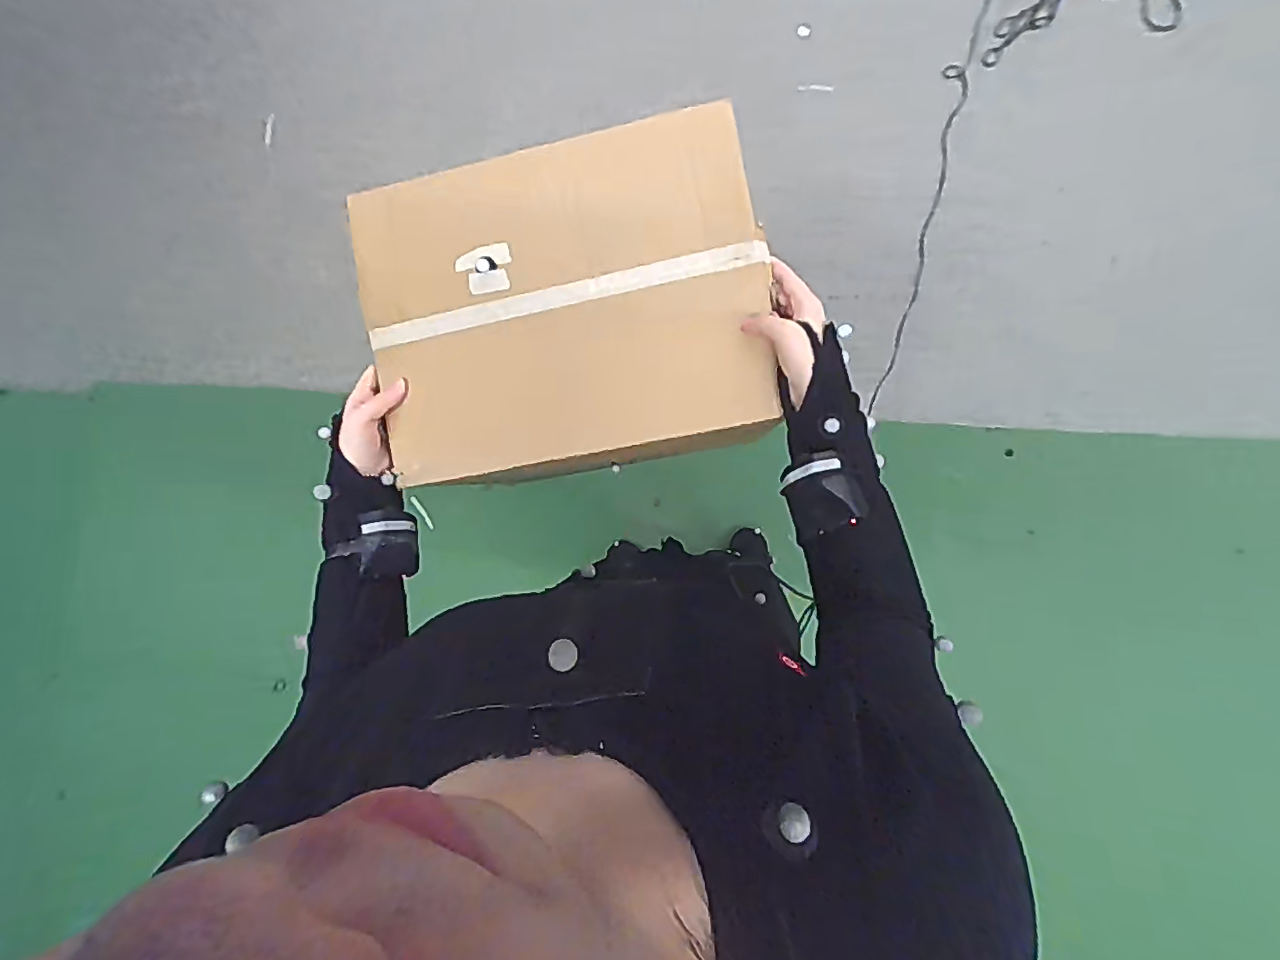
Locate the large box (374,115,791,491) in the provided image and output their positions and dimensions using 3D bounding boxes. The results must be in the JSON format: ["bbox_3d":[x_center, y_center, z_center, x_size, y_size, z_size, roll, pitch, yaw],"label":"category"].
[{"bbox_3d":[-0.048,-0.176,0.702,0.408,0.320,0.320,-10,88,8],"label":"large box"}]
